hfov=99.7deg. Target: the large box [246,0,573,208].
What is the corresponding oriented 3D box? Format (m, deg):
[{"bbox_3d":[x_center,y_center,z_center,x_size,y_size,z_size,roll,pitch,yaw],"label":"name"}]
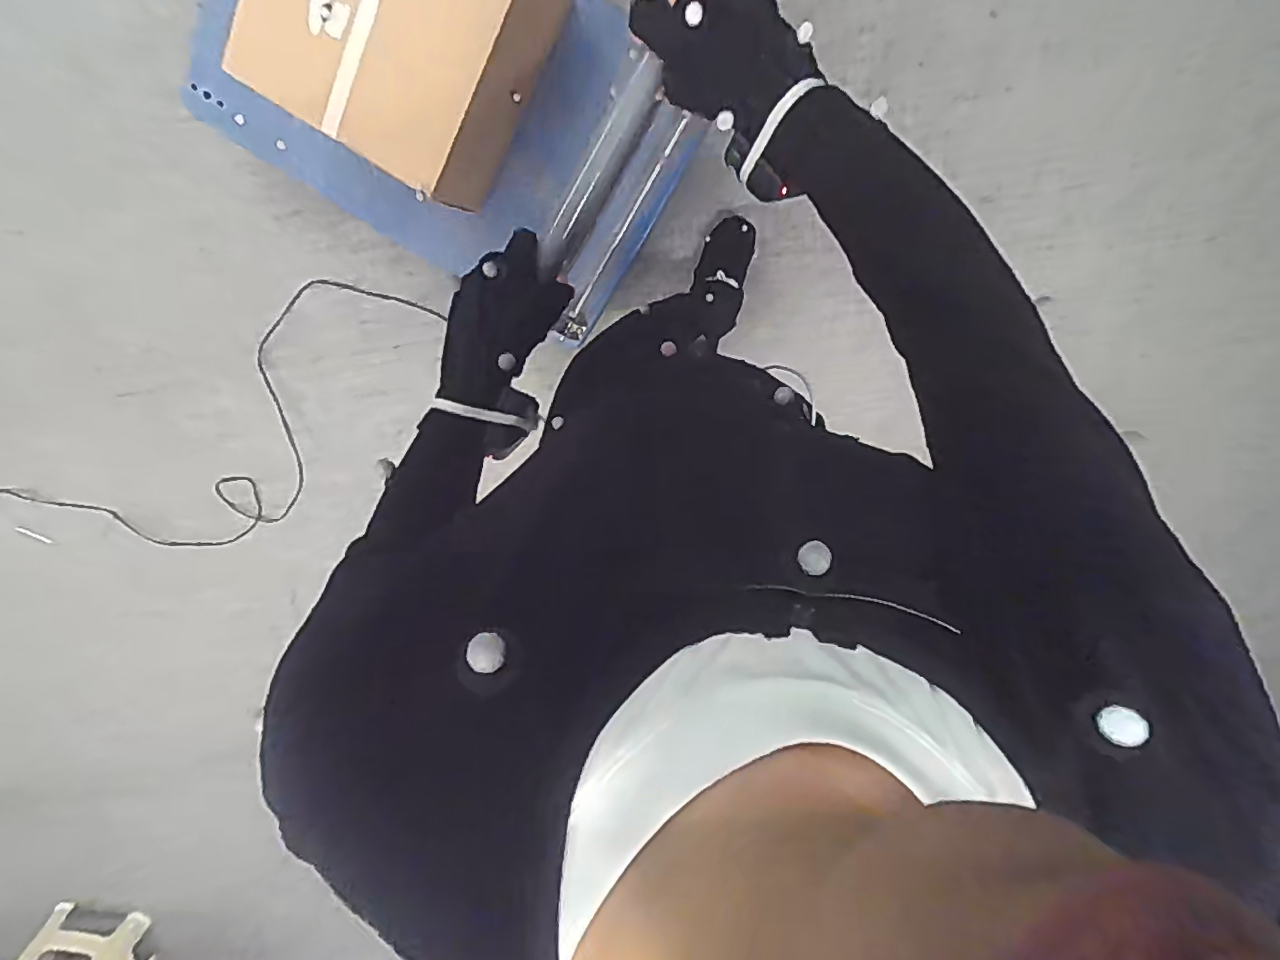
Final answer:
[{"bbox_3d":[-0.342,-0.725,0.880,0.320,0.320,0.408,29,110,-11],"label":"large box"}]
